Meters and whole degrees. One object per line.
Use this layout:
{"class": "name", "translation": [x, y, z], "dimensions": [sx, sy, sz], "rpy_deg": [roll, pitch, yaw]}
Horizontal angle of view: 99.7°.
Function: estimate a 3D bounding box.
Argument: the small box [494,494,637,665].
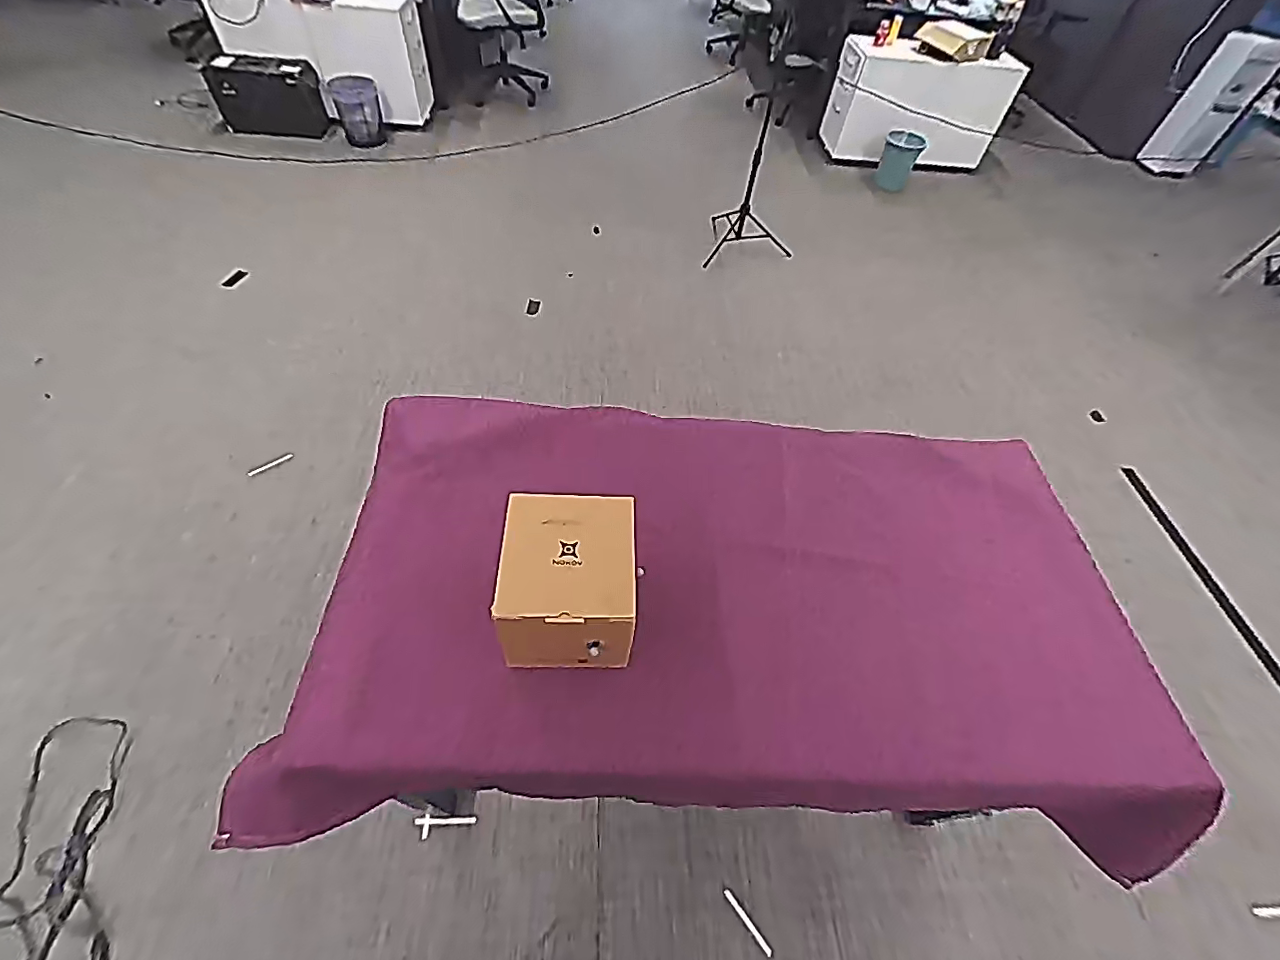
{"class": "small box", "translation": [-0.092, 0.139, 0.729], "dimensions": [0.168, 0.176, 0.179], "rpy_deg": [3, 52, -5]}
